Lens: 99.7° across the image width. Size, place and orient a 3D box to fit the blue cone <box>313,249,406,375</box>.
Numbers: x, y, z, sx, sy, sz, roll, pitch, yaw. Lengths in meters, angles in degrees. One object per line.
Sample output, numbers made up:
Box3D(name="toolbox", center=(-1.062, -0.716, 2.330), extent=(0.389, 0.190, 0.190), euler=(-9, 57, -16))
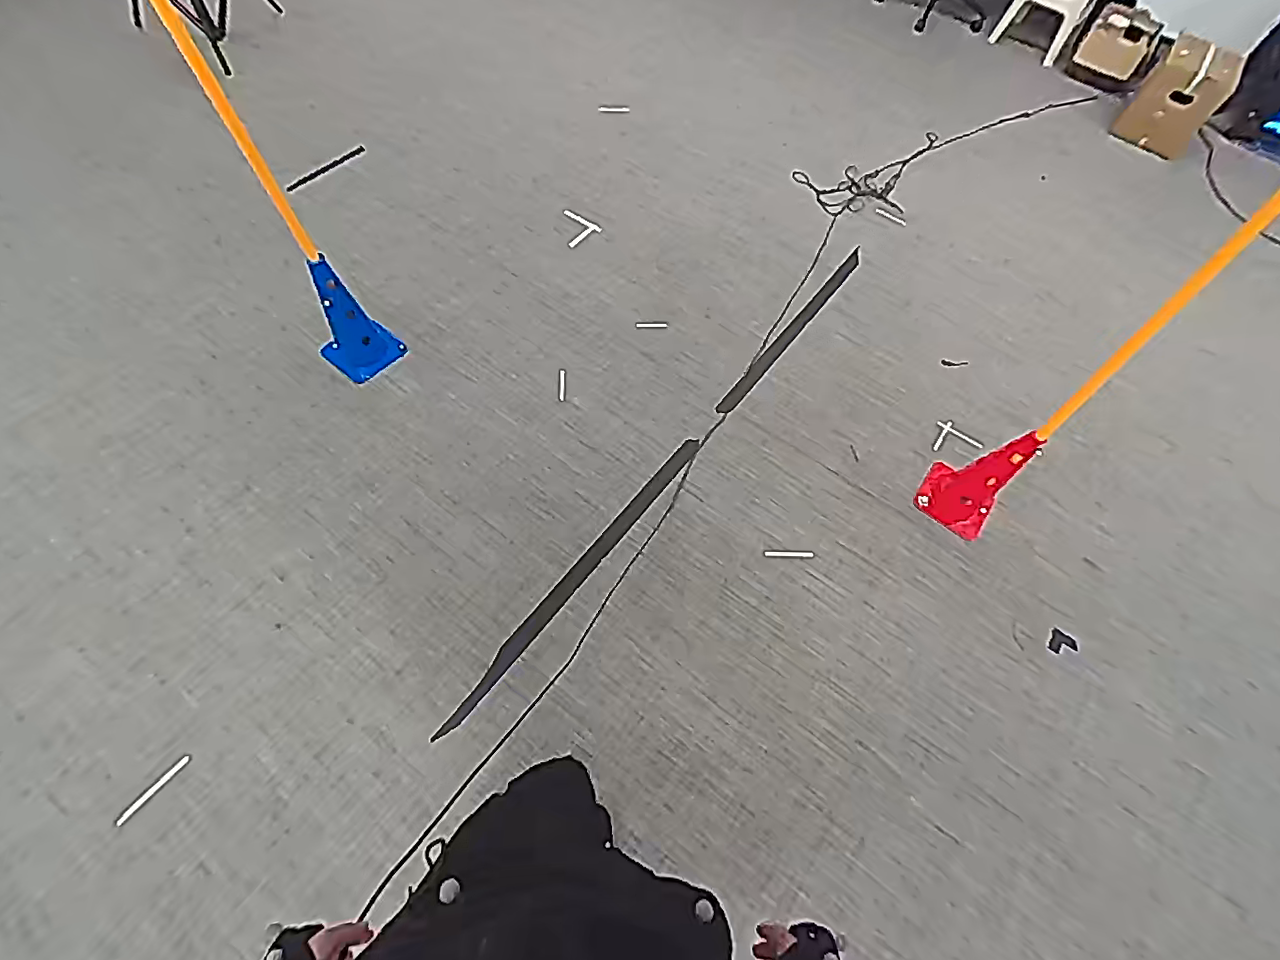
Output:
Box3D(name="blue cone", center=(-0.858, -0.499, 1.570), extent=(0.193, 0.380, 0.192), euler=(38, 65, 14))
